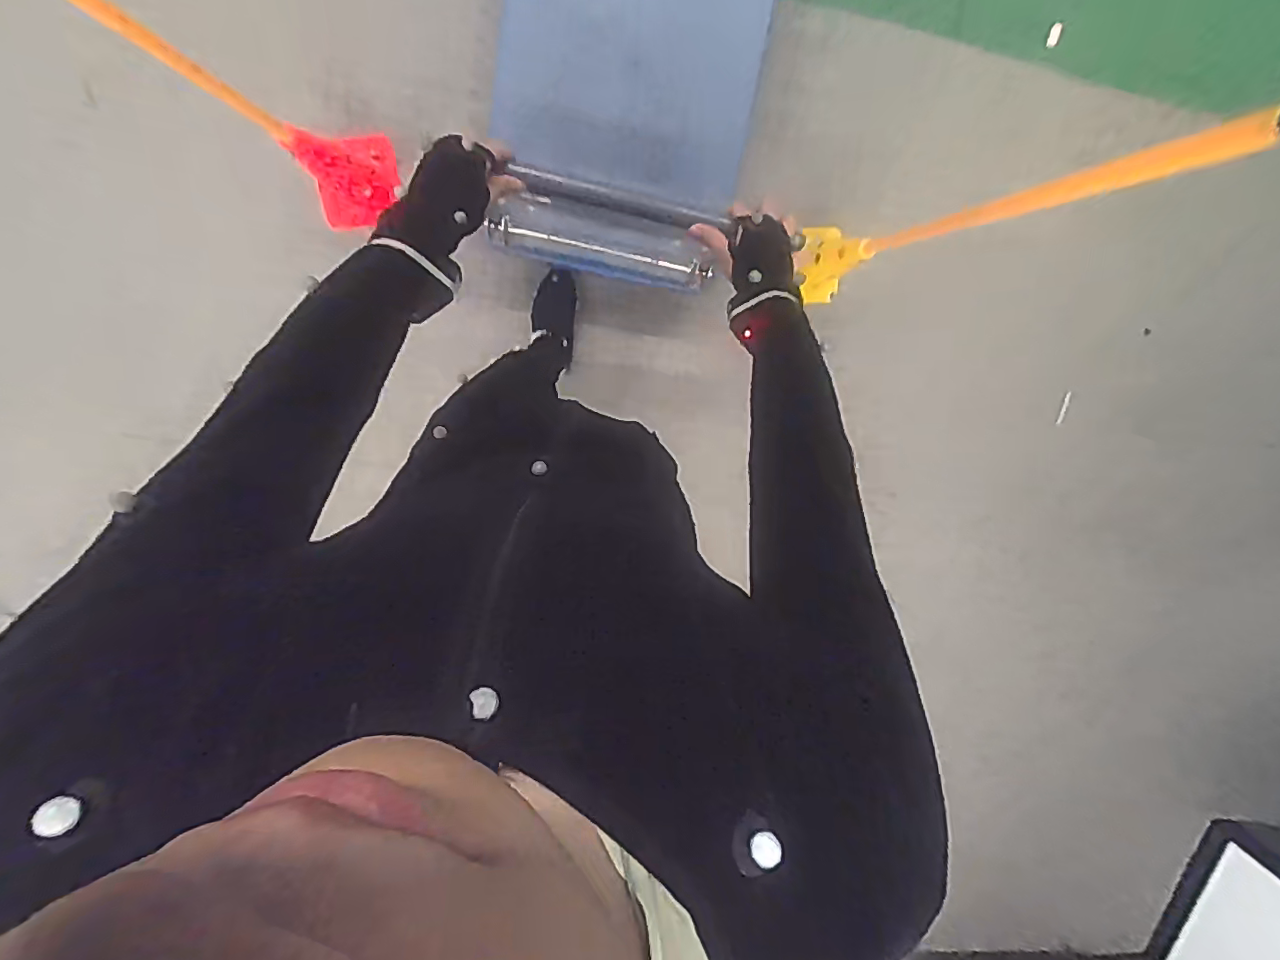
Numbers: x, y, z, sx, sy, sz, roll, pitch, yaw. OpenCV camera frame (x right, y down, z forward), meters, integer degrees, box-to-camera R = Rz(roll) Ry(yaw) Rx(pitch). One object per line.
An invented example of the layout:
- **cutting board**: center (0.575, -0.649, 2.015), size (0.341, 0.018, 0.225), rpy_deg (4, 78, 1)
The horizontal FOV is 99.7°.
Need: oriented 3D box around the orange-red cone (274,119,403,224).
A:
- **orange-red cone**: center (-0.682, -0.699, 1.174), size (0.199, 0.360, 0.198), rpy_deg (-7, 106, -3)
